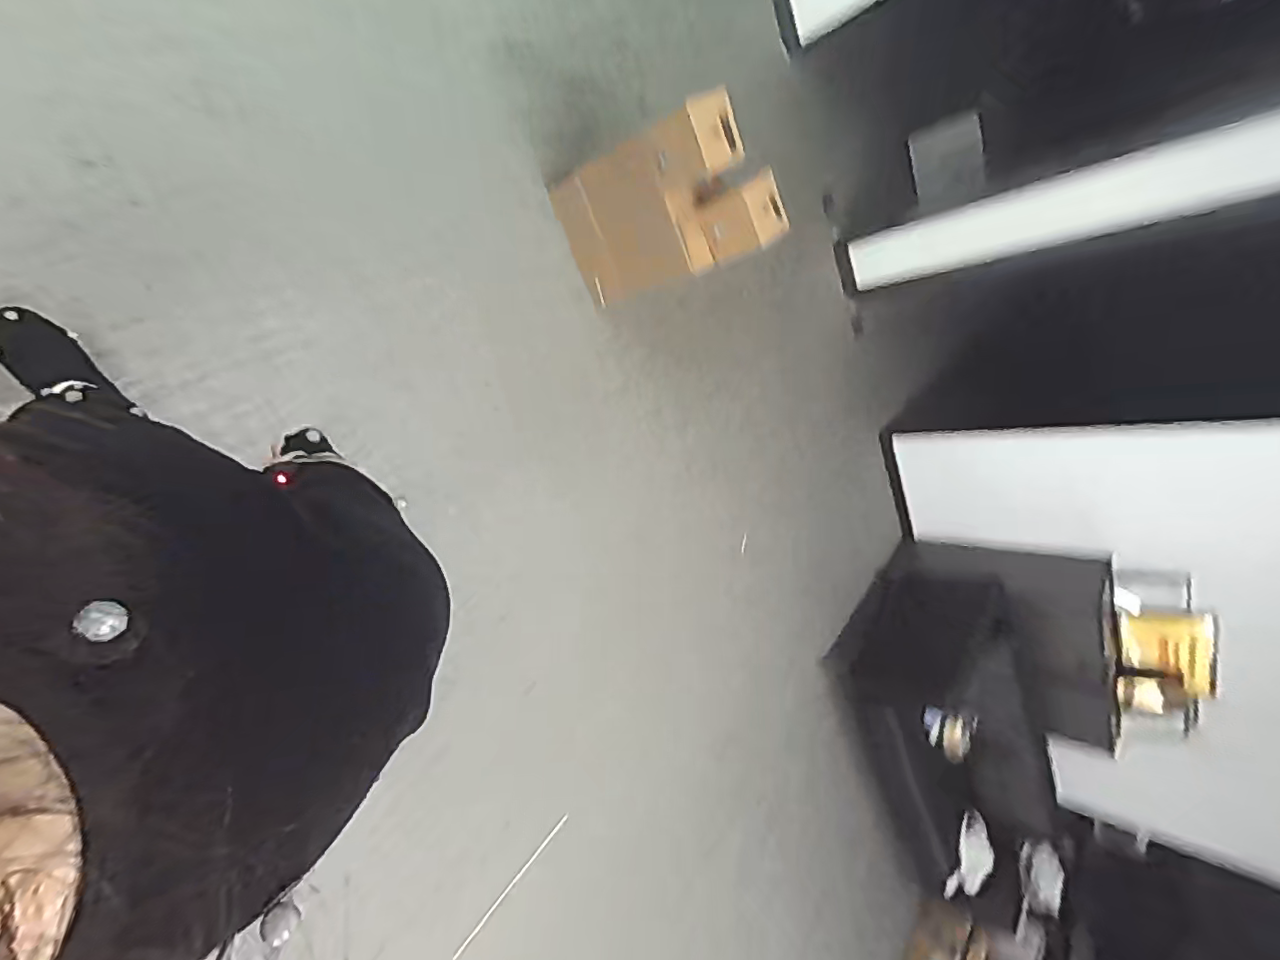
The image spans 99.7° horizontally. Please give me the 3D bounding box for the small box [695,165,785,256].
[{"bbox_3d":[0.292,-0.787,1.585,0.179,0.176,0.168,-44,118,-31],"label":"small box"}]
